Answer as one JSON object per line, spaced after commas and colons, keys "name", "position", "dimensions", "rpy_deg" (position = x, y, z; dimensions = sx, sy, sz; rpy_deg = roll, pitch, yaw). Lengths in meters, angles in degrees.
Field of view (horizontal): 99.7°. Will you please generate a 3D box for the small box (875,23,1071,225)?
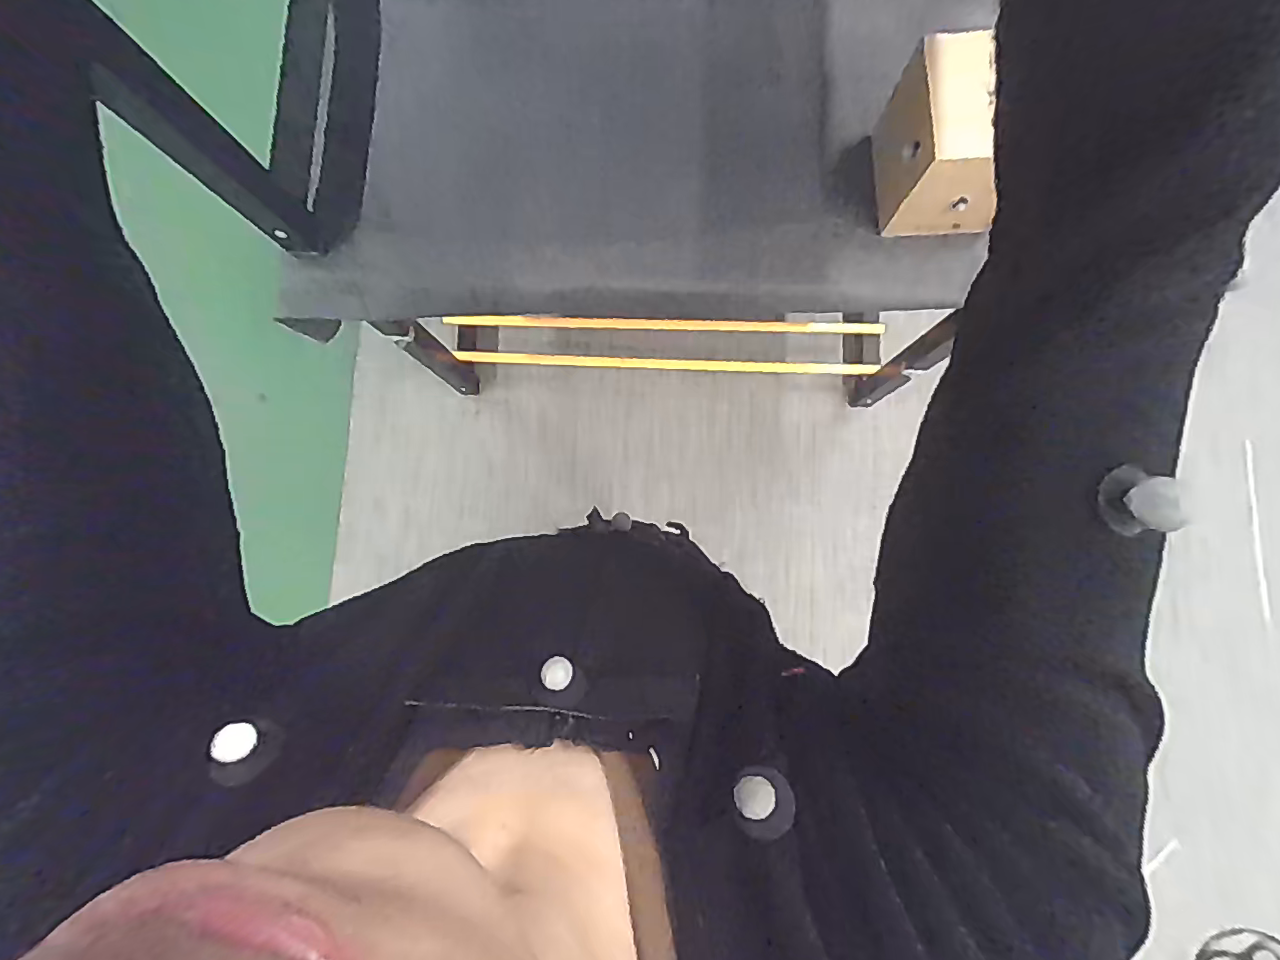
{"name": "small box", "position": [0.443, -0.474, 0.747], "dimensions": [0.168, 0.176, 0.179], "rpy_deg": [-2, 83, 1]}
